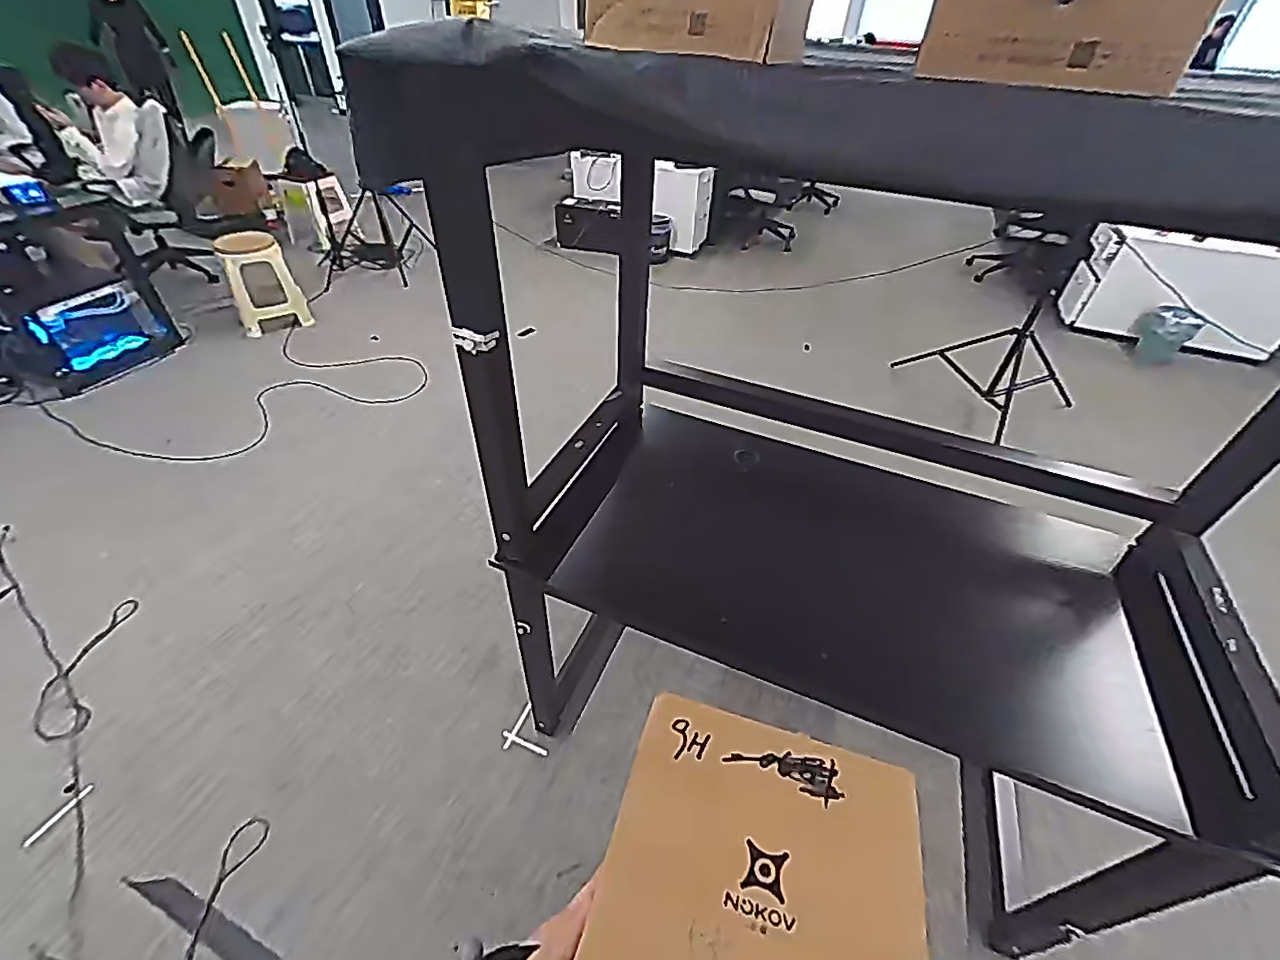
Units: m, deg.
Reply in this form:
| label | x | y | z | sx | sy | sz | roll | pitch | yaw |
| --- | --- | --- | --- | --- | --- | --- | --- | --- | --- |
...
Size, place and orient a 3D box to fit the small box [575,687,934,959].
| label | x | y | z | sx | sy | sz | roll | pitch | yaw |
| --- | --- | --- | --- | --- | --- | --- | --- | --- | --- |
| small box | 0.062 | 0.266 | 0.332 | 0.168 | 0.176 | 0.179 | 14 | 45 | 11 |

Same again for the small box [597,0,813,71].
| label | x | y | z | sx | sy | sz | roll | pitch | yaw |
| --- | --- | --- | --- | --- | --- | --- | --- | --- | --- |
| small box | 0.067 | -0.469 | 0.465 | 0.168 | 0.176 | 0.179 | 18 | 42 | 14 |

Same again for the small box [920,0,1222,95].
| label | x | y | z | sx | sy | sz | roll | pitch | yaw |
| --- | --- | --- | --- | --- | --- | --- | --- | --- | --- |
| small box | 0.318 | -0.392 | 0.389 | 0.168 | 0.176 | 0.179 | 18 | 41 | 16 |
